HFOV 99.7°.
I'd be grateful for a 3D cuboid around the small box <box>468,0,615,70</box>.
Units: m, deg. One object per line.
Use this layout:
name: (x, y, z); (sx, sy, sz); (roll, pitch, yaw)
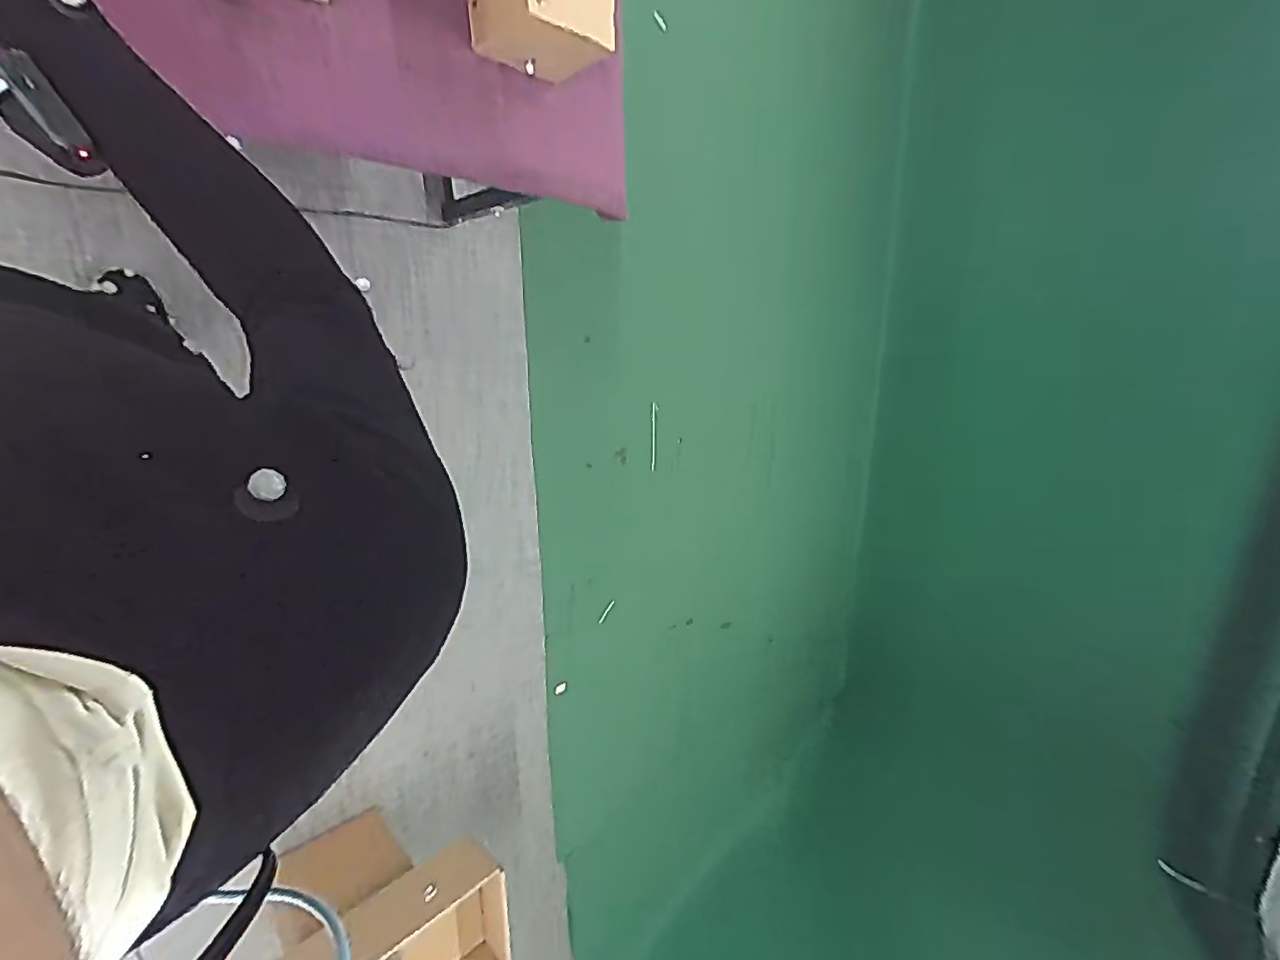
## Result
small box: (-0.161, -0.799, 0.873); (0.179, 0.176, 0.168); (-17, 112, -43)
